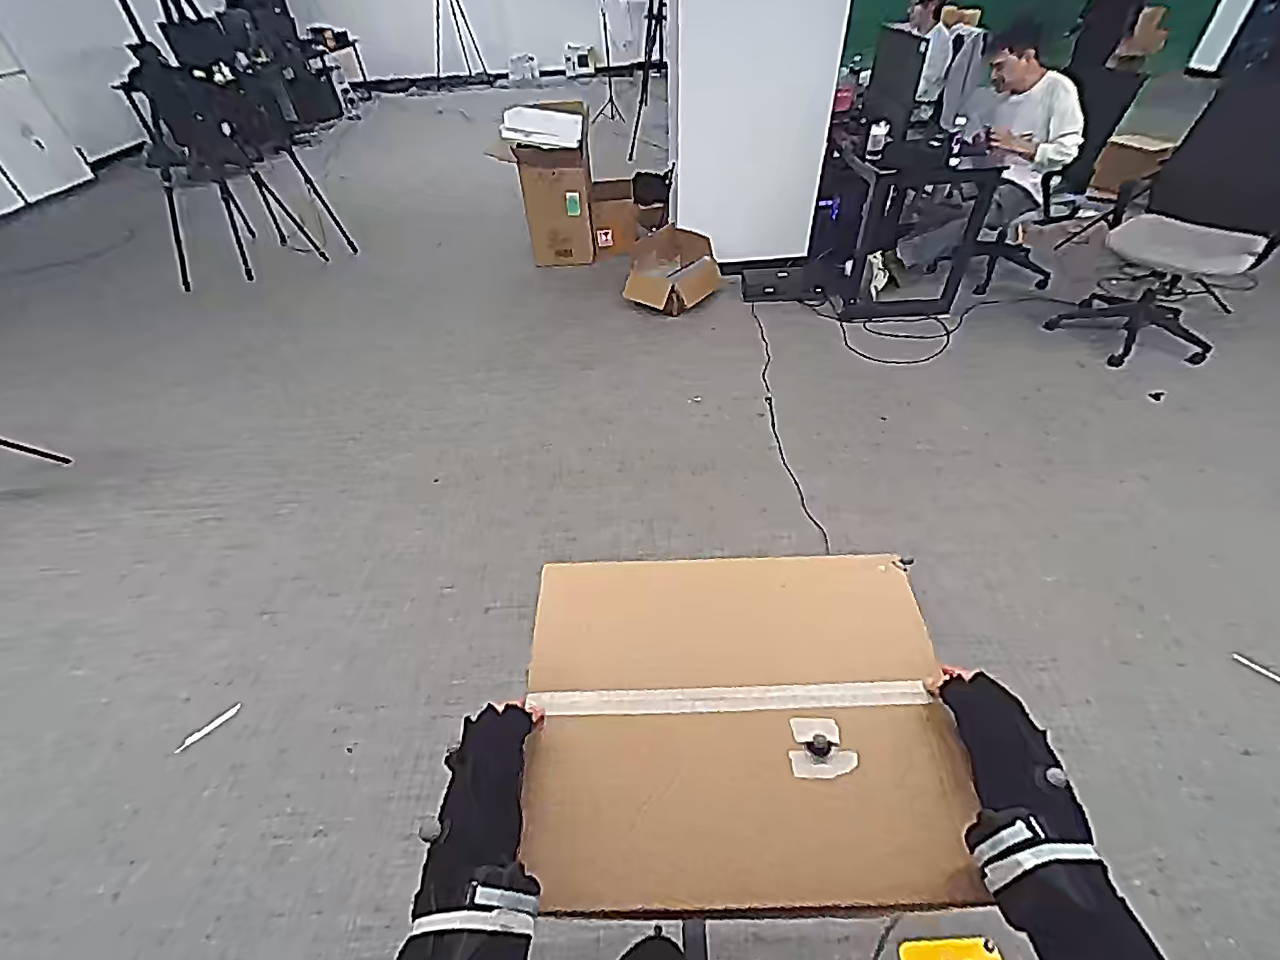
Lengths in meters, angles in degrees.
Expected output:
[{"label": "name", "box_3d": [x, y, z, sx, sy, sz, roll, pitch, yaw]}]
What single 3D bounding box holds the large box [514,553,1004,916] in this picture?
[{"label": "large box", "box_3d": [0.094, 0.304, 0.639, 0.408, 0.320, 0.320, -2, 50, 1]}]
